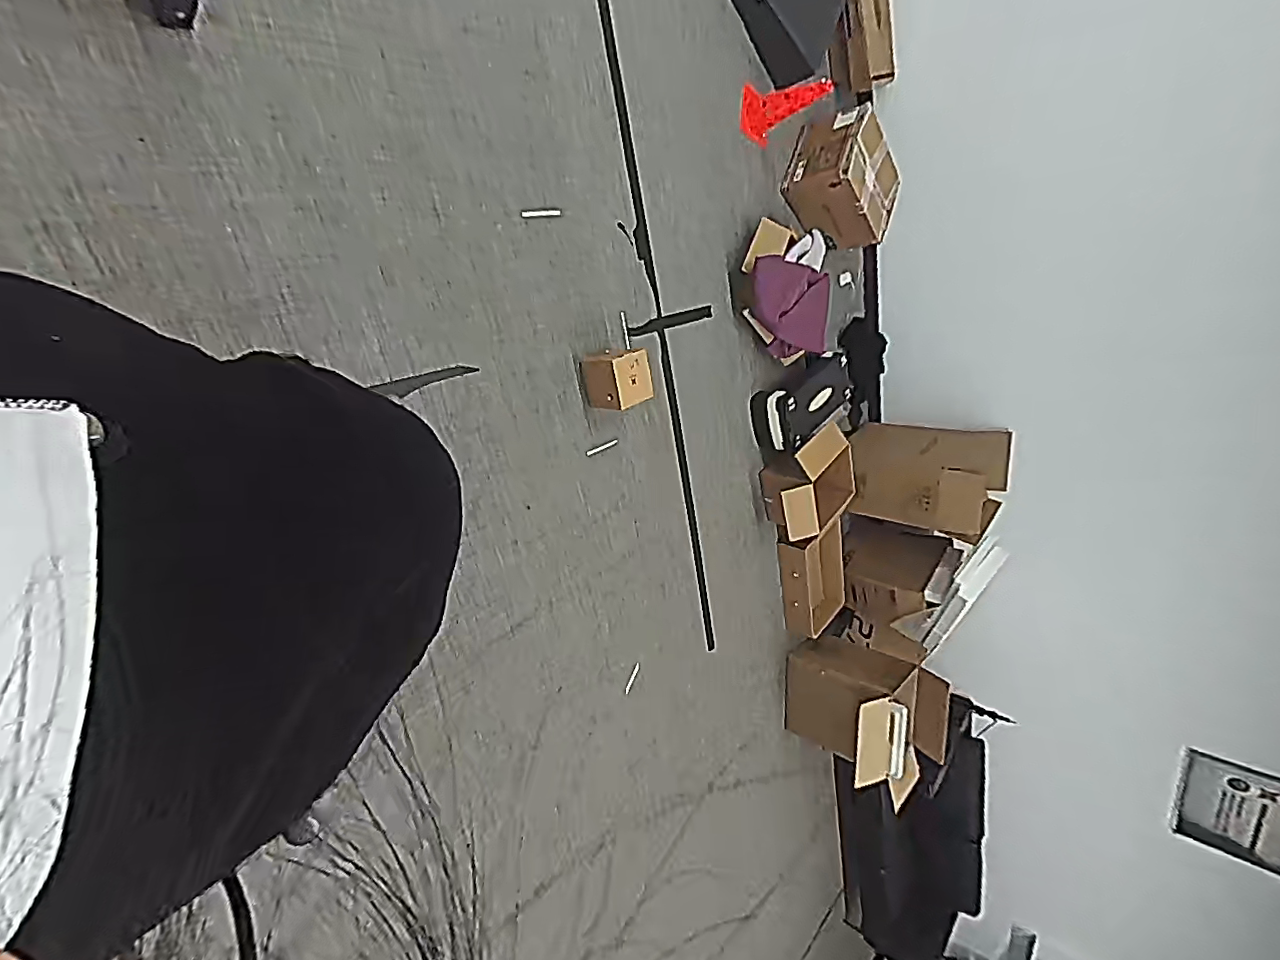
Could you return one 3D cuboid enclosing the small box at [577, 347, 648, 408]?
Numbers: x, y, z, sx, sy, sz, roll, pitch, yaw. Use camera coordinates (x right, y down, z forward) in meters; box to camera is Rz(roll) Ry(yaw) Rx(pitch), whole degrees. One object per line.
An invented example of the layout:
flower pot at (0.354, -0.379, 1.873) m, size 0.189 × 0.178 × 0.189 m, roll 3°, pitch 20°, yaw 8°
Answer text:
small box at (-0.098, -0.365, 1.910) m, size 0.168 × 0.176 × 0.179 m, roll -30°, pitch 118°, yaw -39°
